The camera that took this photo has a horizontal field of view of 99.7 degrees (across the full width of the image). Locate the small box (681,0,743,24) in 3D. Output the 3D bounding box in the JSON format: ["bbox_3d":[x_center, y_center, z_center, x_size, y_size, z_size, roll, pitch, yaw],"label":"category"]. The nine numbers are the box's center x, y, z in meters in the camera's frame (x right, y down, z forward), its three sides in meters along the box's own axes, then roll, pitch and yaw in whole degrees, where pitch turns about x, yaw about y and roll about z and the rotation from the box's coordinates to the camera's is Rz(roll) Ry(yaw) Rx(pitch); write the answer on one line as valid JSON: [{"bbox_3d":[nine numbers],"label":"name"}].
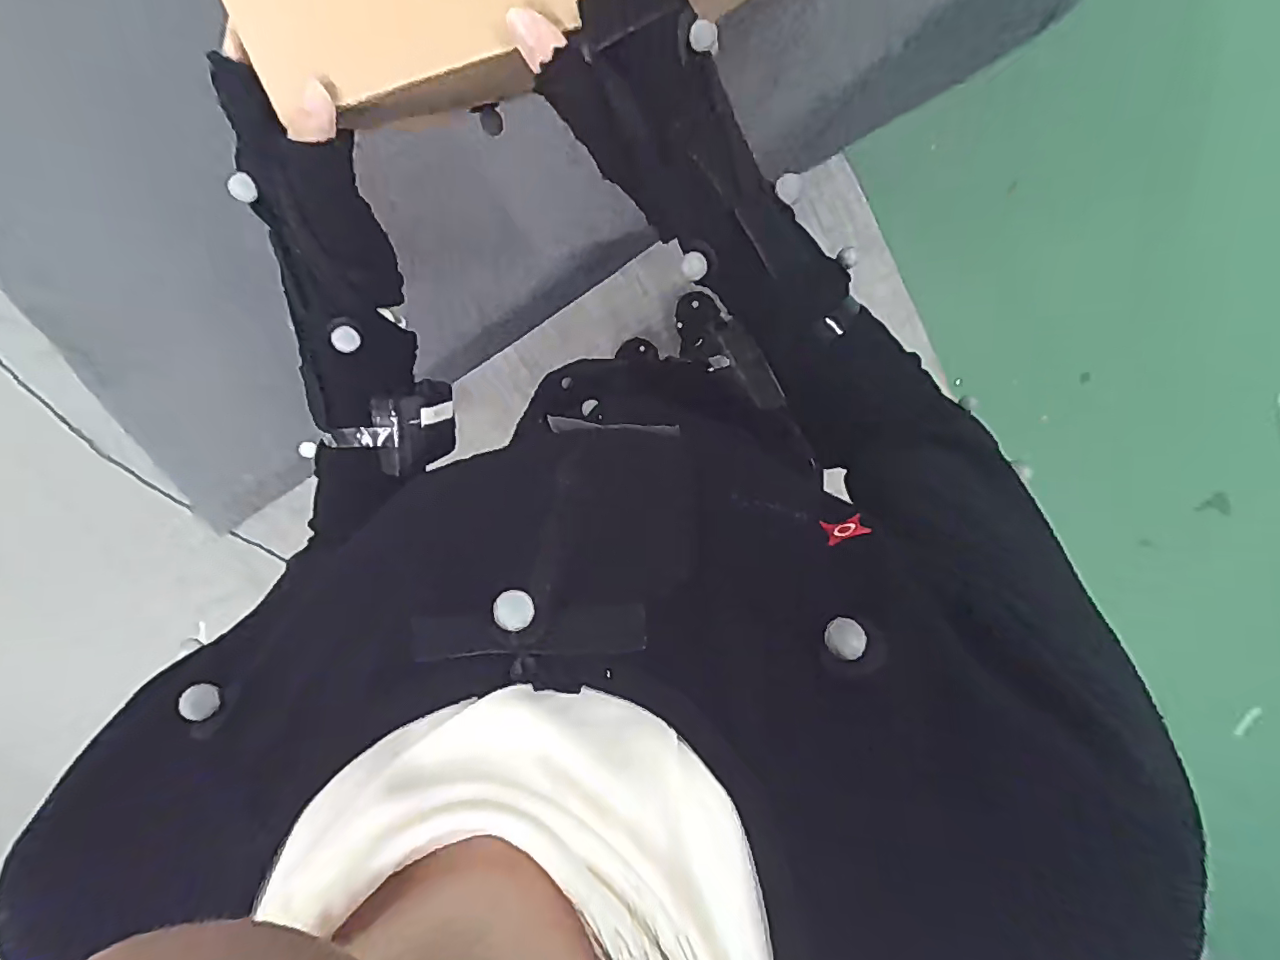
[{"bbox_3d":[0.080,-0.548,0.446,0.168,0.176,0.179,-27,103,12],"label":"small box"}]

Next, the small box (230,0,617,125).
[{"bbox_3d":[-0.115,-0.312,0.288,0.168,0.176,0.179,-9,121,10],"label":"small box"}]
